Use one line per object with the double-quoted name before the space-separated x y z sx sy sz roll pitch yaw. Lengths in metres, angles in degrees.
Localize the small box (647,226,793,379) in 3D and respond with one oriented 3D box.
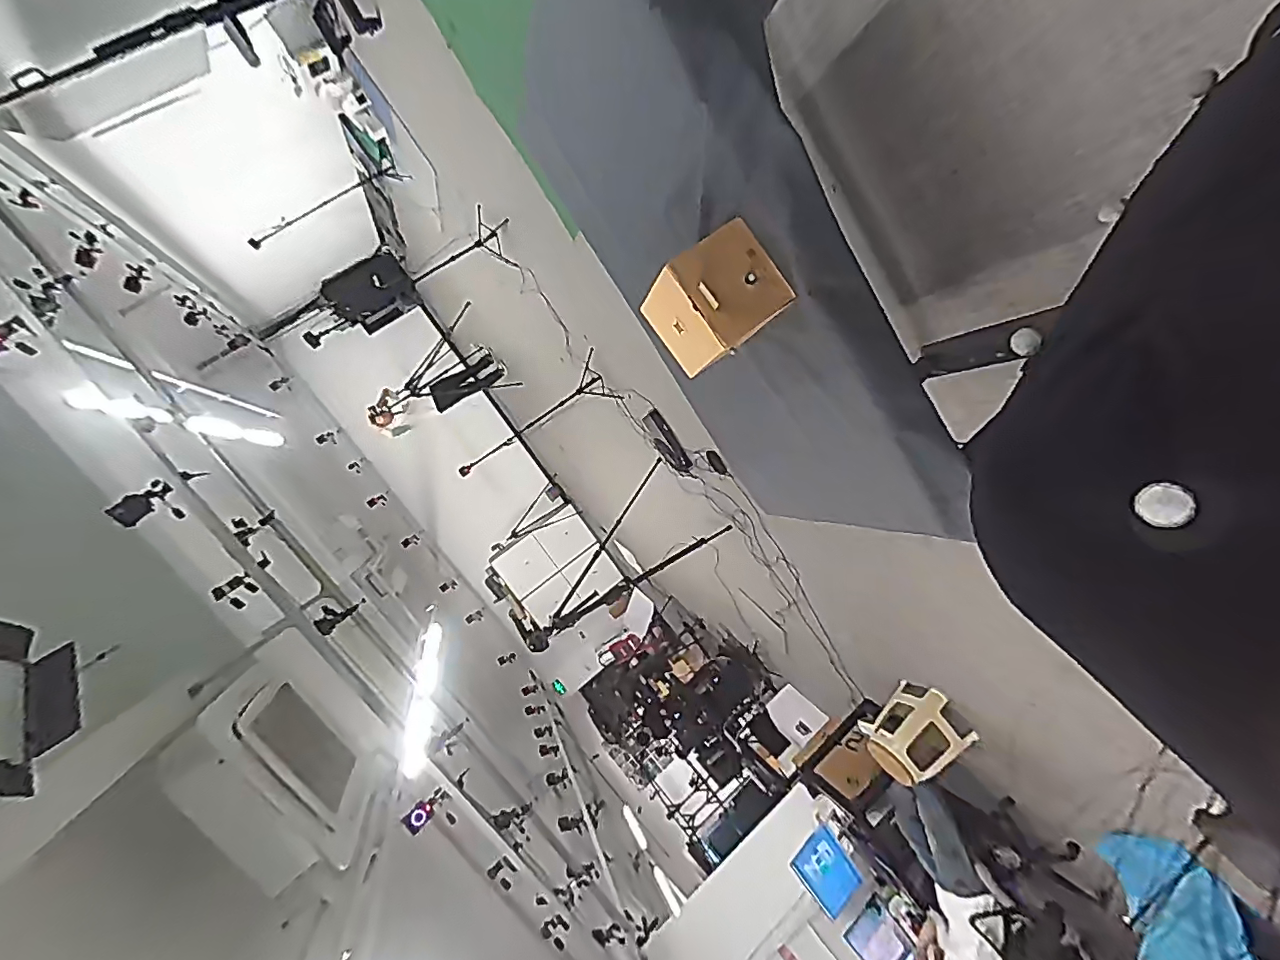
"small box" 0.141 -0.313 0.973 0.168 0.176 0.179 53 166 -3
